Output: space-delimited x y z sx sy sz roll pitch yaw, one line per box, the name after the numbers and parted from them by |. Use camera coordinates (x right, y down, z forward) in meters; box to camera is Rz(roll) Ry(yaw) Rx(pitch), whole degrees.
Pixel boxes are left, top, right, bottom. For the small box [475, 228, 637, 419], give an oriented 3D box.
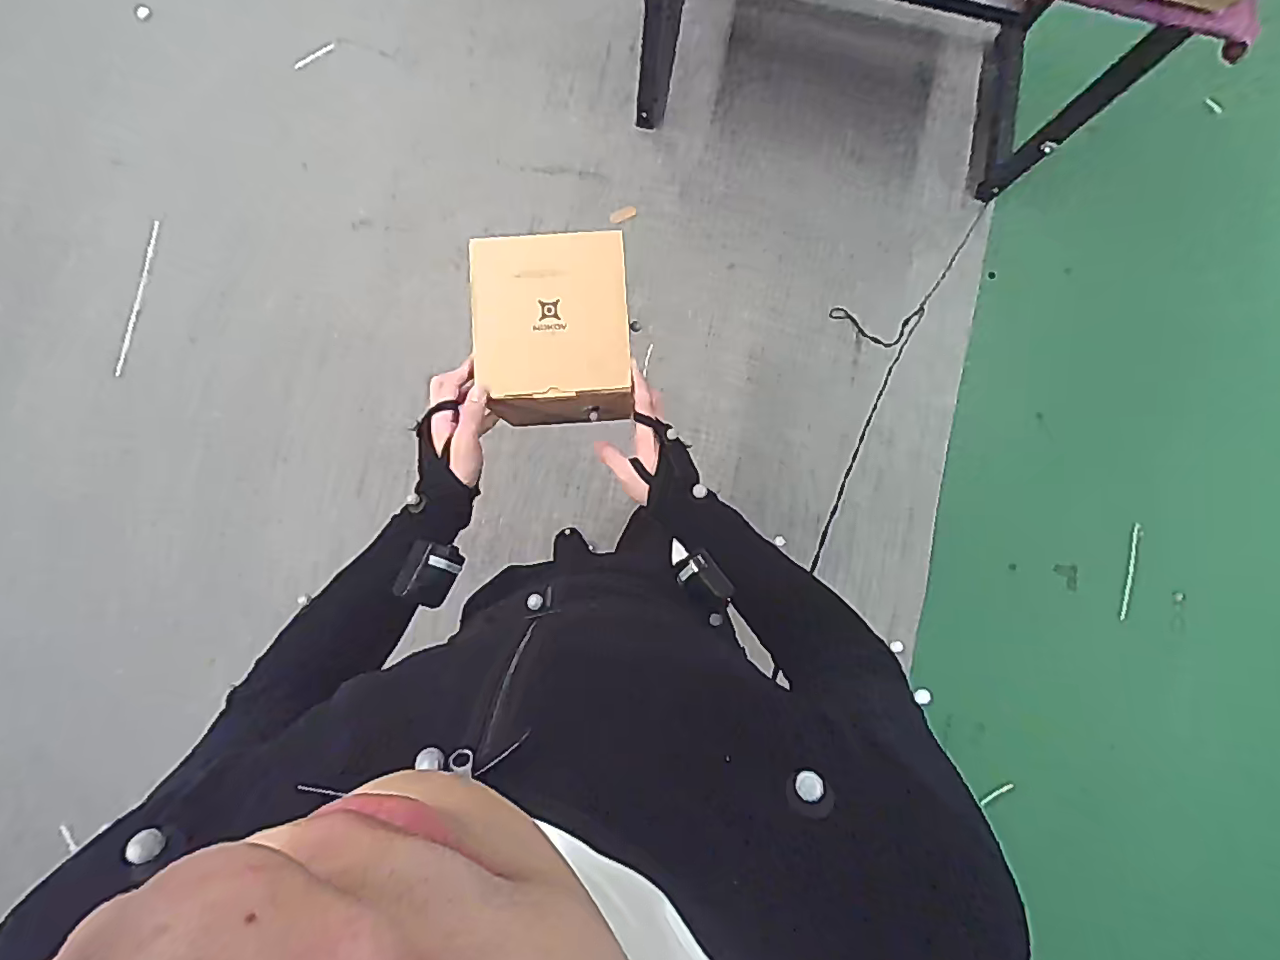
-0.089 -0.170 0.643 0.168 0.176 0.179 -3 85 -1 | small box
